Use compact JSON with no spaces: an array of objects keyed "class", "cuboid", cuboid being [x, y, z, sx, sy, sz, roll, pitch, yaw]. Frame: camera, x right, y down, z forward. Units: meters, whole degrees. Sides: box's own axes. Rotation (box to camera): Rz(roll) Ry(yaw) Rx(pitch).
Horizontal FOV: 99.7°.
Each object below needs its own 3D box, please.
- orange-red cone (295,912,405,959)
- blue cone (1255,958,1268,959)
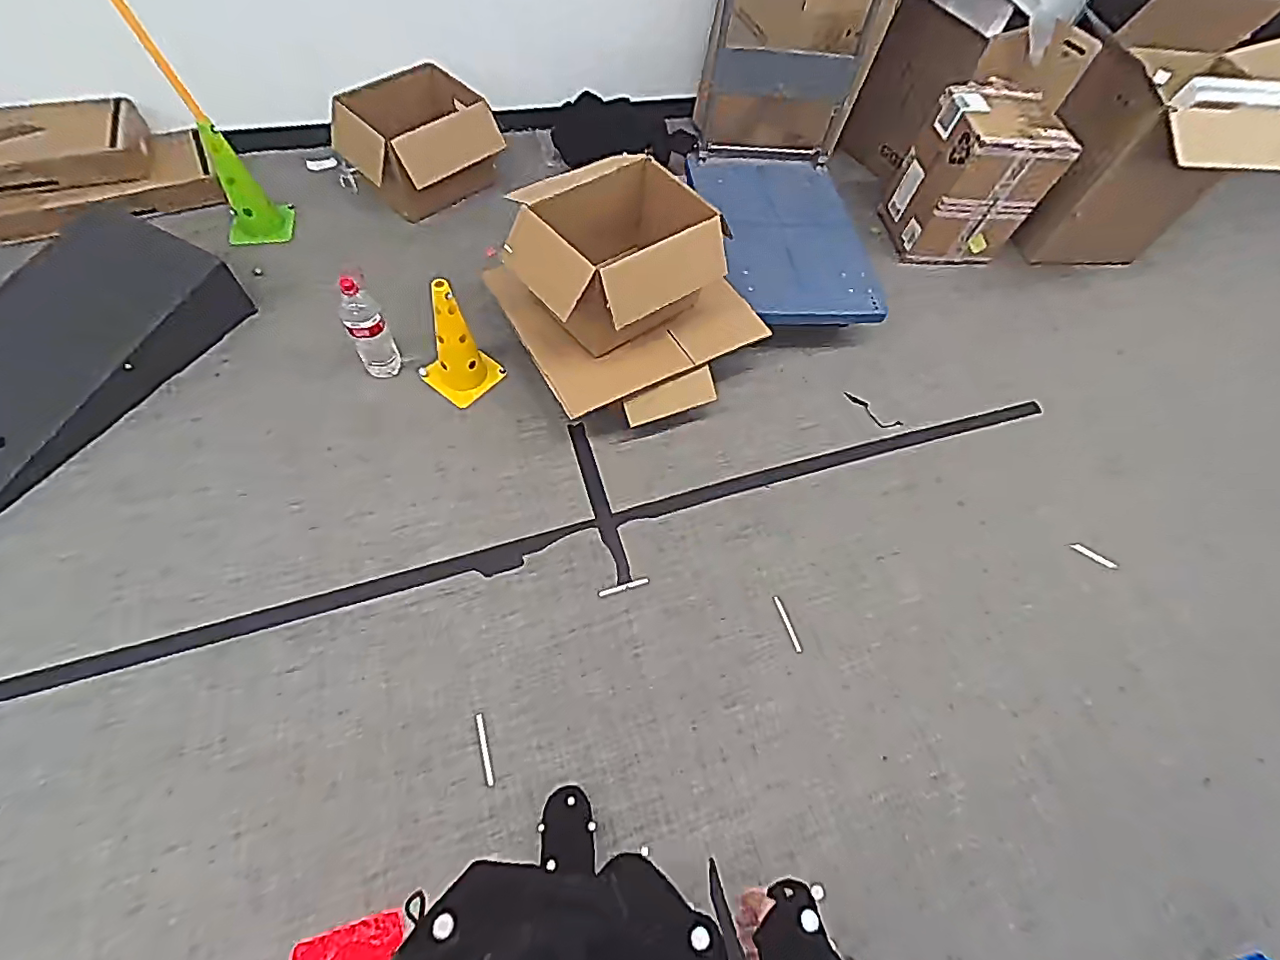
[{"class":"orange-red cone","cuboid":[-0.512,0.852,0.840,0.198,0.360,0.199,-11,62,-12]},{"class":"blue cone","cuboid":[1.320,1.044,0.969,0.193,0.380,0.192,-11,64,-12]}]
